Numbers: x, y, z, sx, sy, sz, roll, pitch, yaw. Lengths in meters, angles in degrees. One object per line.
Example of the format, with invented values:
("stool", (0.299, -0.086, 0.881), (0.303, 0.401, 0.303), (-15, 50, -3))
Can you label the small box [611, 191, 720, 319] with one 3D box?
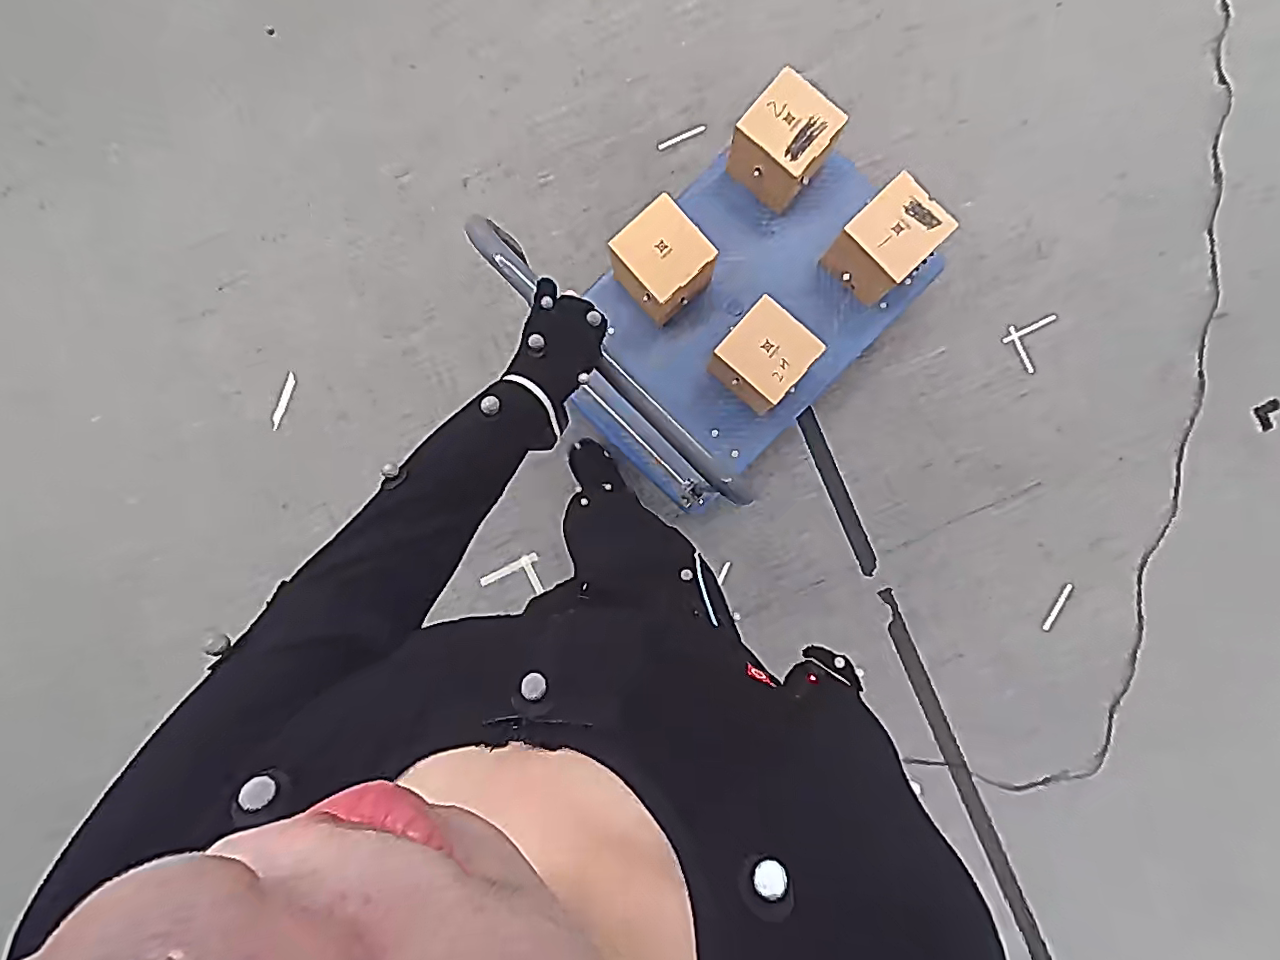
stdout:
("small box", (0.053, -0.494, 1.216), (0.168, 0.176, 0.179), (-42, 91, 1))

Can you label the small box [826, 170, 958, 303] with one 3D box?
("small box", (0.547, -0.530, 1.201), (0.179, 0.176, 0.168), (-44, 89, 3))

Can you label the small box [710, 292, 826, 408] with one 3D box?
("small box", (0.275, -0.278, 1.210), (0.179, 0.176, 0.168), (42, 92, 1))
